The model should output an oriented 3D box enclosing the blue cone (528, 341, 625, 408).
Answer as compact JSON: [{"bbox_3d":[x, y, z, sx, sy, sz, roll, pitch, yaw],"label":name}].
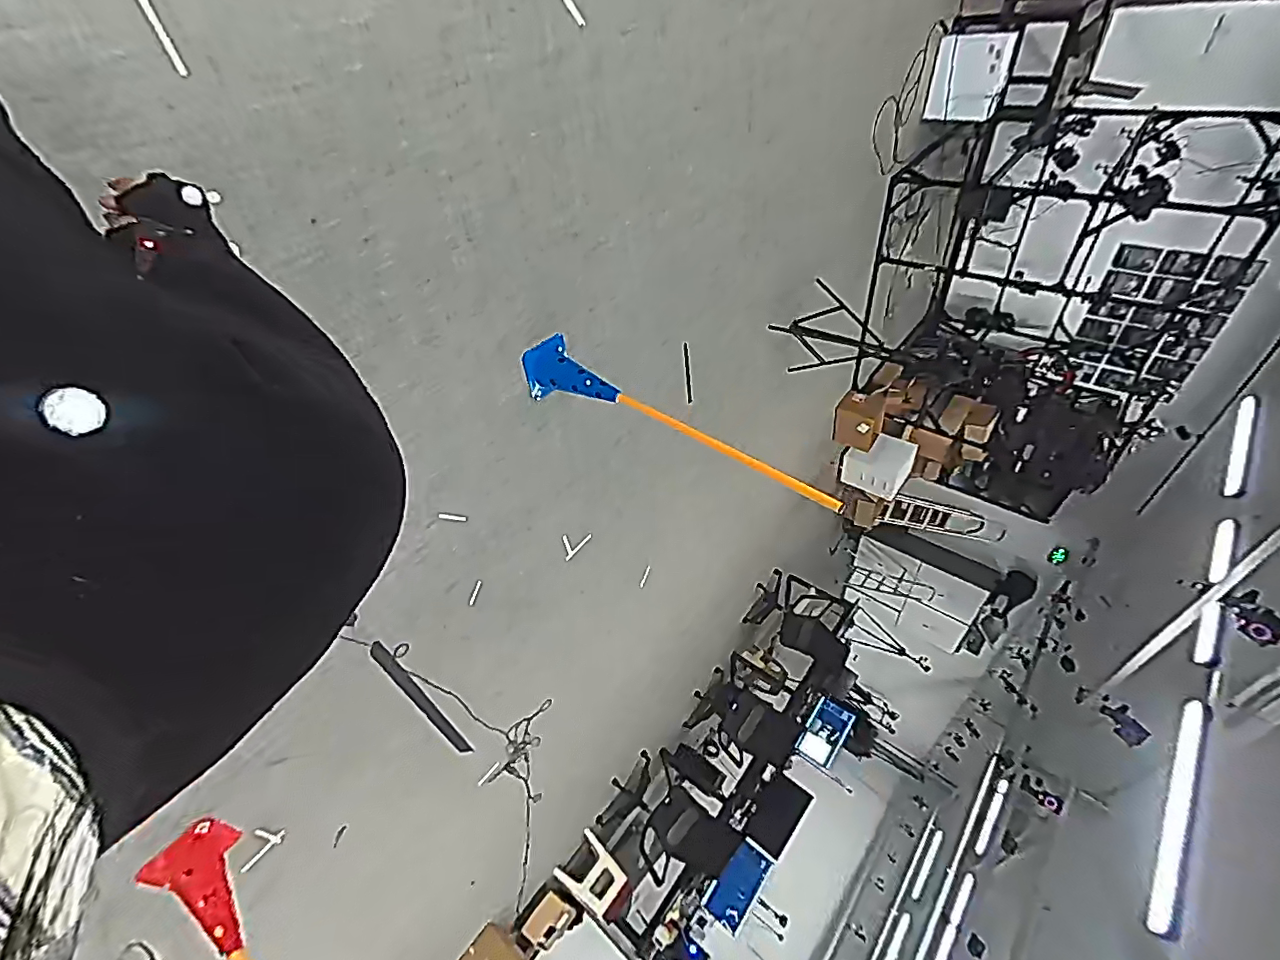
[{"bbox_3d":[-0.204,-0.337,1.895,0.193,0.380,0.192,-40,142,-33],"label":"blue cone"}]
